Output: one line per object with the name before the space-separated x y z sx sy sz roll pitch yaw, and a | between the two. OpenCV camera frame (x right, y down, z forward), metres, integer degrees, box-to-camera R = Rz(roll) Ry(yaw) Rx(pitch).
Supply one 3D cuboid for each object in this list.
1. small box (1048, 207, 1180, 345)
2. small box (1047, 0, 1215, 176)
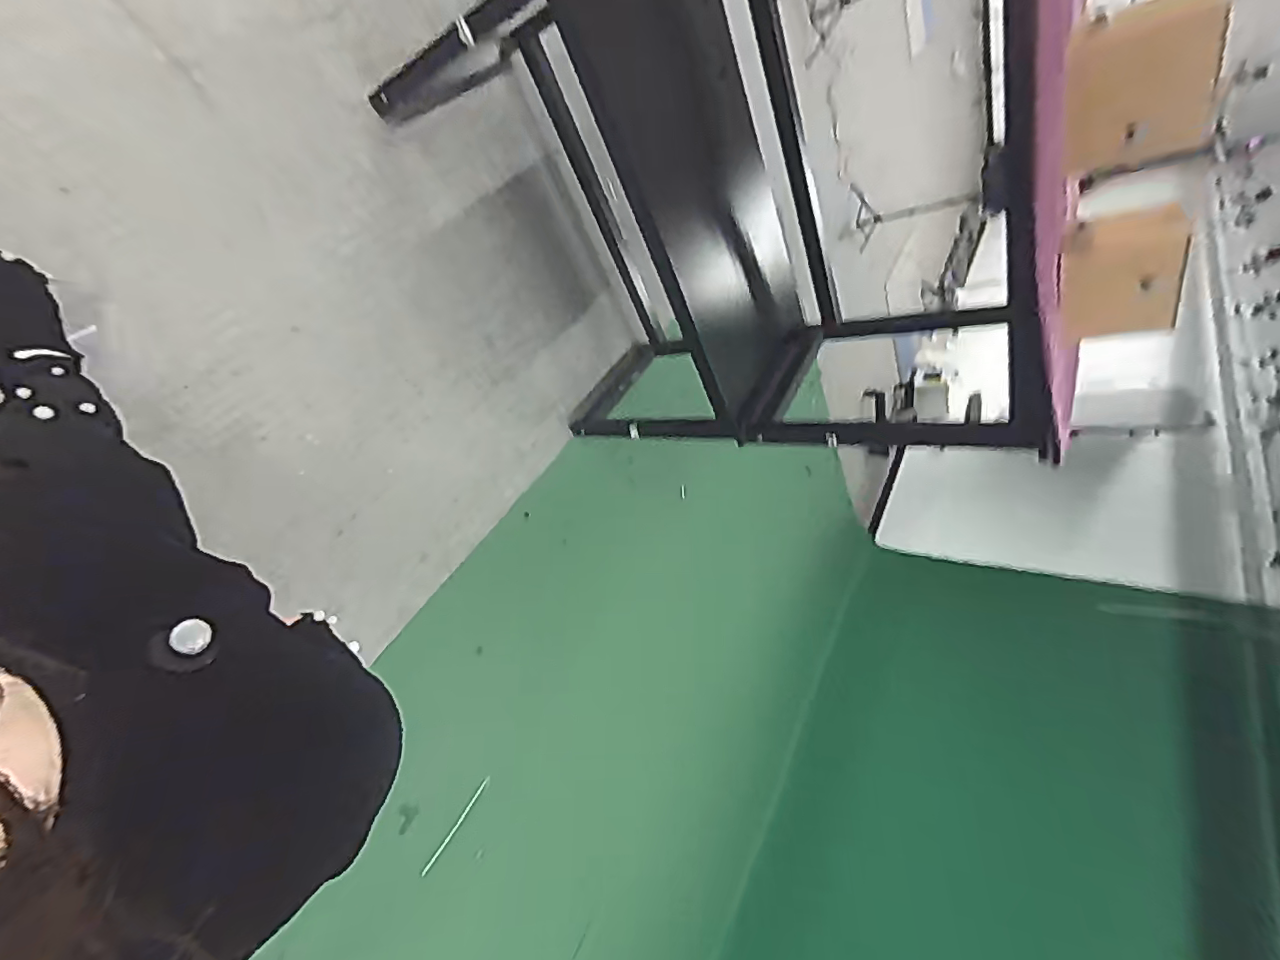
small box | 0.873 -0.374 1.012 0.168 0.176 0.179 -55 132 -35
small box | 0.730 -0.588 0.817 0.168 0.176 0.179 -57 132 -32
